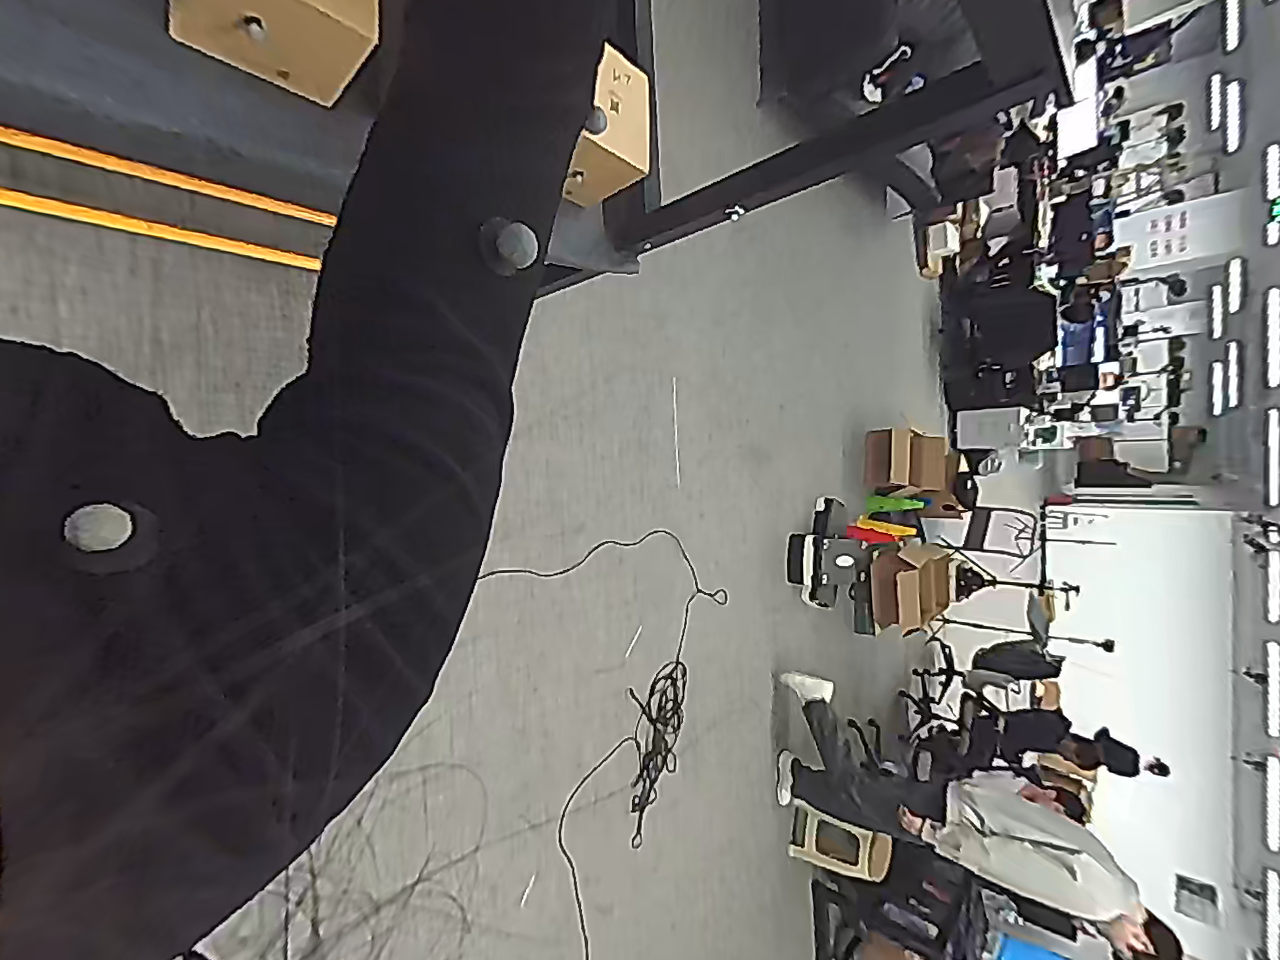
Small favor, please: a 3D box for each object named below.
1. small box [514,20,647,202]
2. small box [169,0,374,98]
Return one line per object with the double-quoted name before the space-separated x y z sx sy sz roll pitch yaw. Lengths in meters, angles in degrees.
"small box" -0.104 -0.617 0.937 0.168 0.176 0.179 1 88 -47
"small box" -0.415 -0.584 0.609 0.168 0.176 0.179 -1 90 -47
